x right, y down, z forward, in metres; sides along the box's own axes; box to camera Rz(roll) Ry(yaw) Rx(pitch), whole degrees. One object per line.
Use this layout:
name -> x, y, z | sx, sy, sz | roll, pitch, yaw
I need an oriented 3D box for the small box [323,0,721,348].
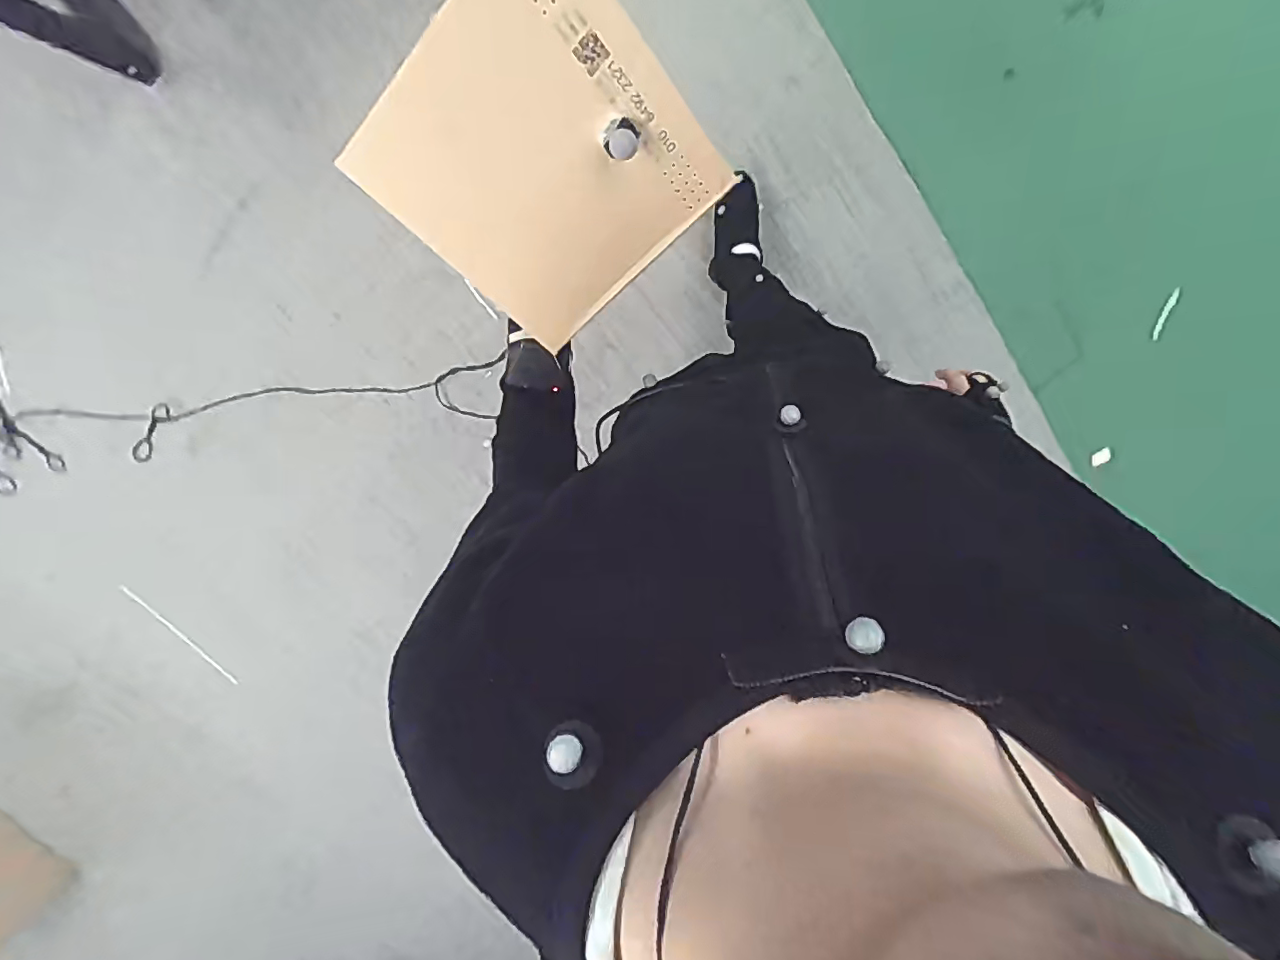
small box -> -0.067, -0.232, 0.366 | 0.176, 0.179, 0.168 | -37, 126, 21
